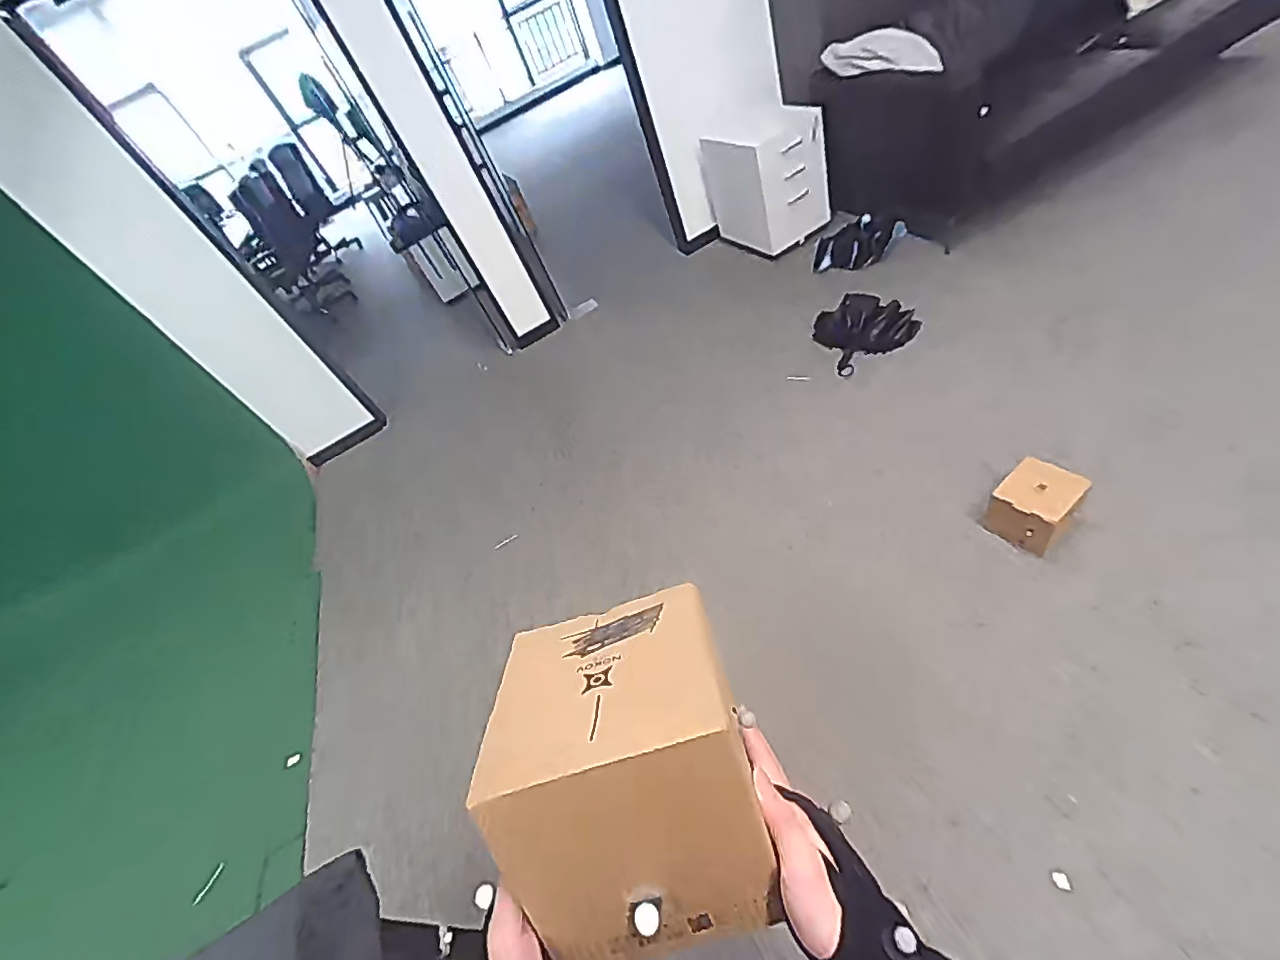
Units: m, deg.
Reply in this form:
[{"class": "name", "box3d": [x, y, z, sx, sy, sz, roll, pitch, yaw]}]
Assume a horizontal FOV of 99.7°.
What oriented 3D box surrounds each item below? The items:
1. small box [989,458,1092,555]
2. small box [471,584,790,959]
[{"class": "small box", "box3d": [1.107, 0.078, 1.509, 0.179, 0.176, 0.168, -39, 46, -14]}, {"class": "small box", "box3d": [-0.001, 0.213, 0.417, 0.168, 0.176, 0.179, -18, 18, 4]}]
